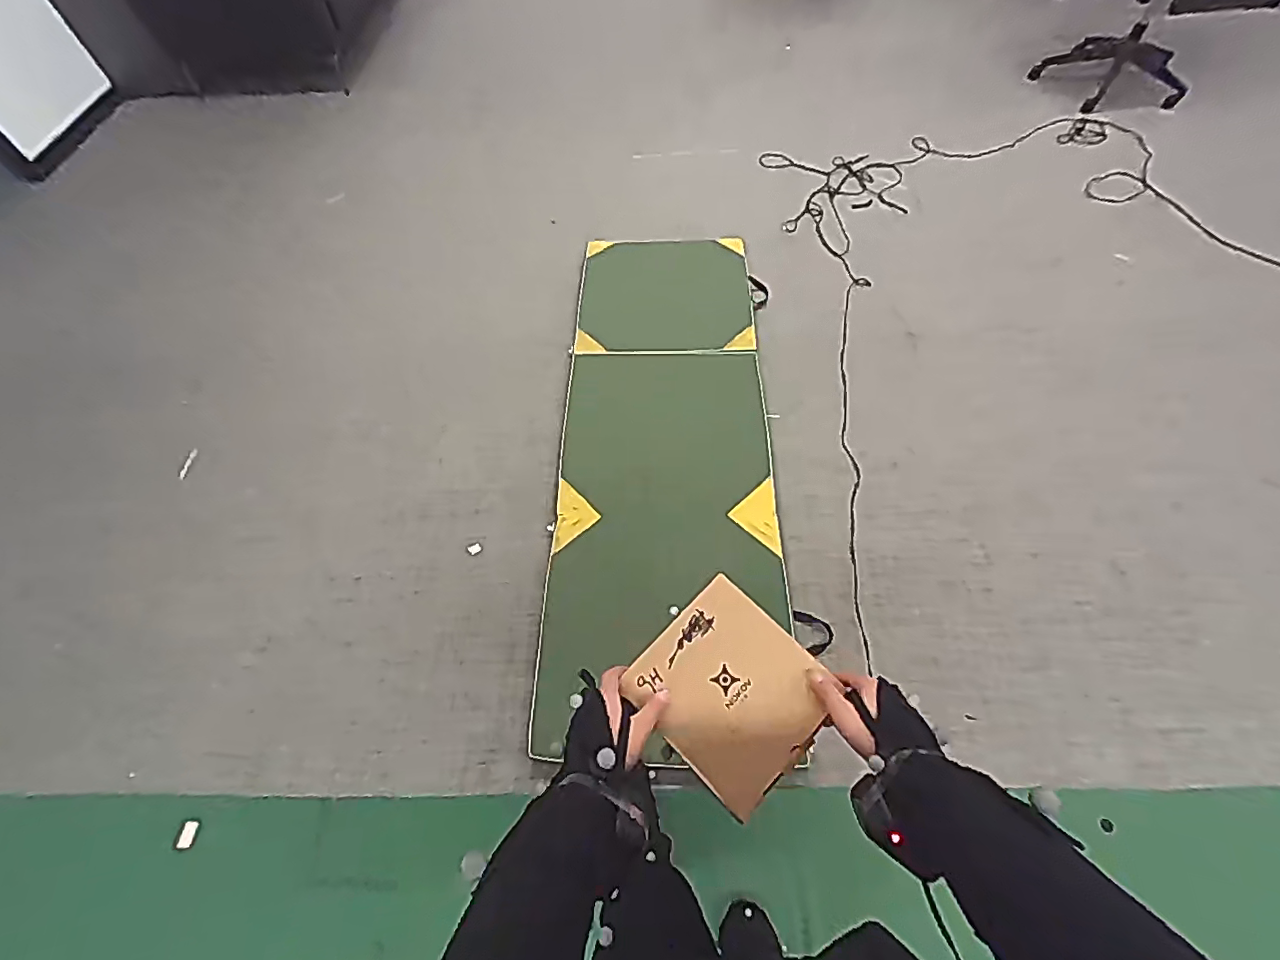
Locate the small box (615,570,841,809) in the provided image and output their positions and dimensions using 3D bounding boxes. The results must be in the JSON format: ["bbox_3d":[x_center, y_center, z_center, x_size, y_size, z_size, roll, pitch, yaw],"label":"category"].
[{"bbox_3d":[0.092,0.236,0.628,0.168,0.176,0.179,-42,71,-16],"label":"small box"}]
